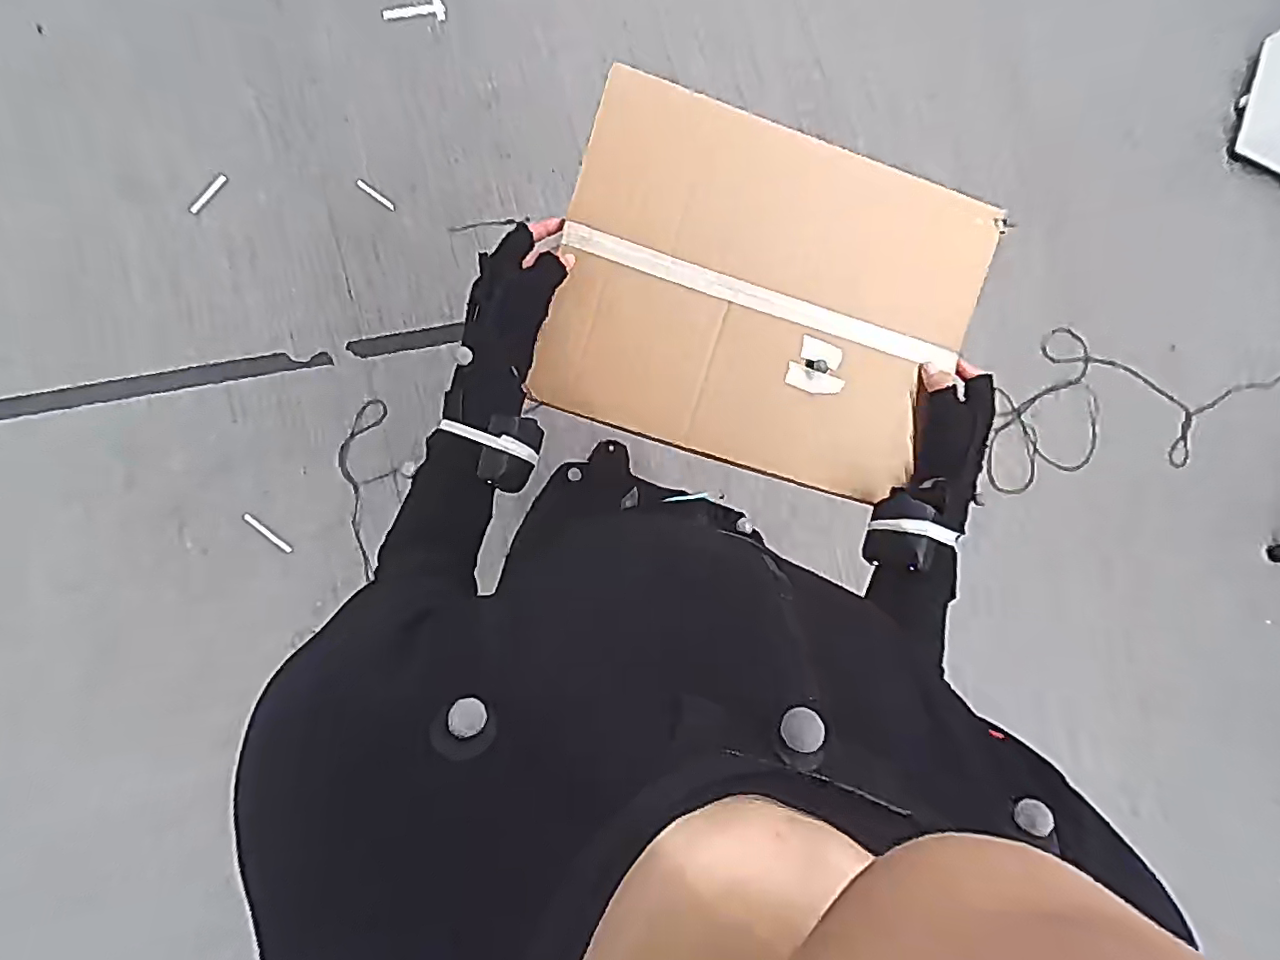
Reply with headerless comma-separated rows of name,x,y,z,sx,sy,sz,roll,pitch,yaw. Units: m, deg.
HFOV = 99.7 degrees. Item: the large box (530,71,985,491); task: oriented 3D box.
large box,0.106,-0.203,0.685,0.408,0.320,0.320,17,96,-7
